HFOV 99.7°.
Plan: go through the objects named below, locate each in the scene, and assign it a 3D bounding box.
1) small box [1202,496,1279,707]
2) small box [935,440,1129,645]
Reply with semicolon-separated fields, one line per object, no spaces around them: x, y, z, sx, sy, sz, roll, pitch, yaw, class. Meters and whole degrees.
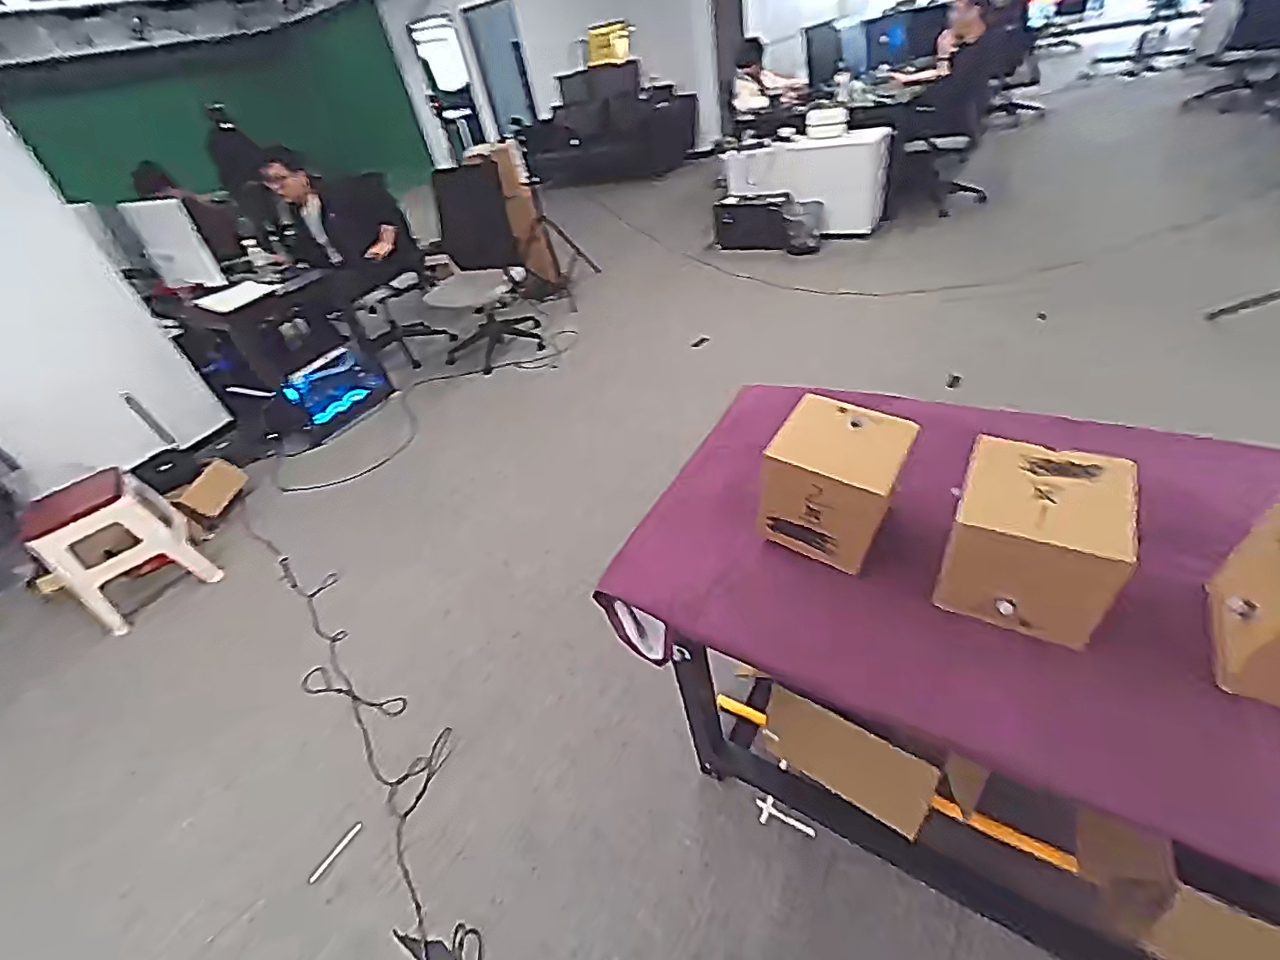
0.741;0.138;0.557;0.179;0.176;0.168;16;46;32;small box
0.501;0.076;0.705;0.168;0.176;0.179;15;47;30;small box
